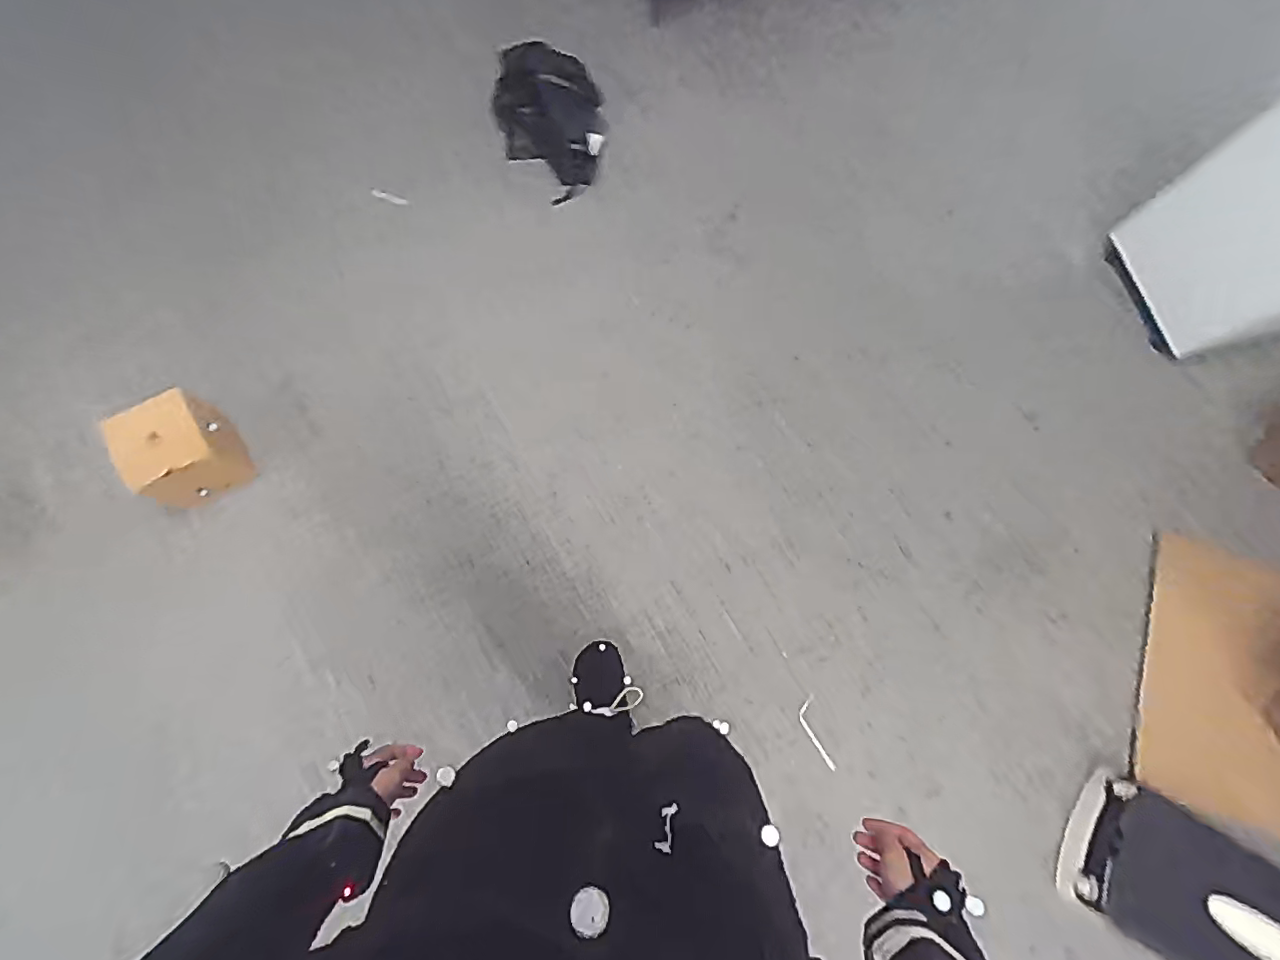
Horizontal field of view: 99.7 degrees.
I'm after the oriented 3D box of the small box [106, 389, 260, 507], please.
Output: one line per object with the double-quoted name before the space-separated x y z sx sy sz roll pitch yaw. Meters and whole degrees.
"small box" -0.986 -0.063 1.183 0.168 0.176 0.179 -30 80 -11
